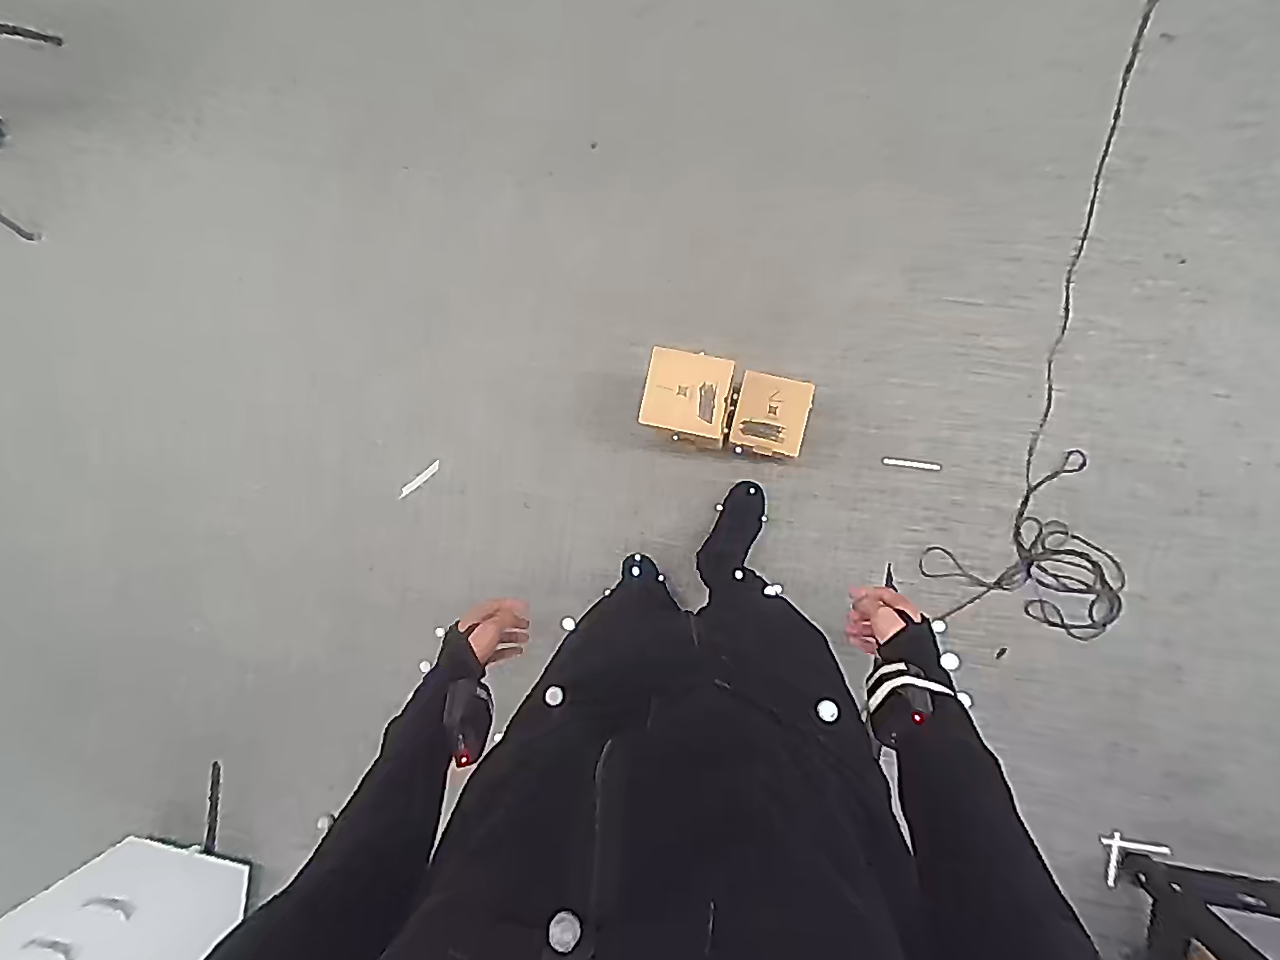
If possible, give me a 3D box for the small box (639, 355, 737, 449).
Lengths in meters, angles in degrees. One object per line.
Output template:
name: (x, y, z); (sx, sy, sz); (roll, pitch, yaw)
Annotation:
small box: (0.109, -0.165, 1.195); (0.179, 0.176, 0.168); (12, 91, 8)
